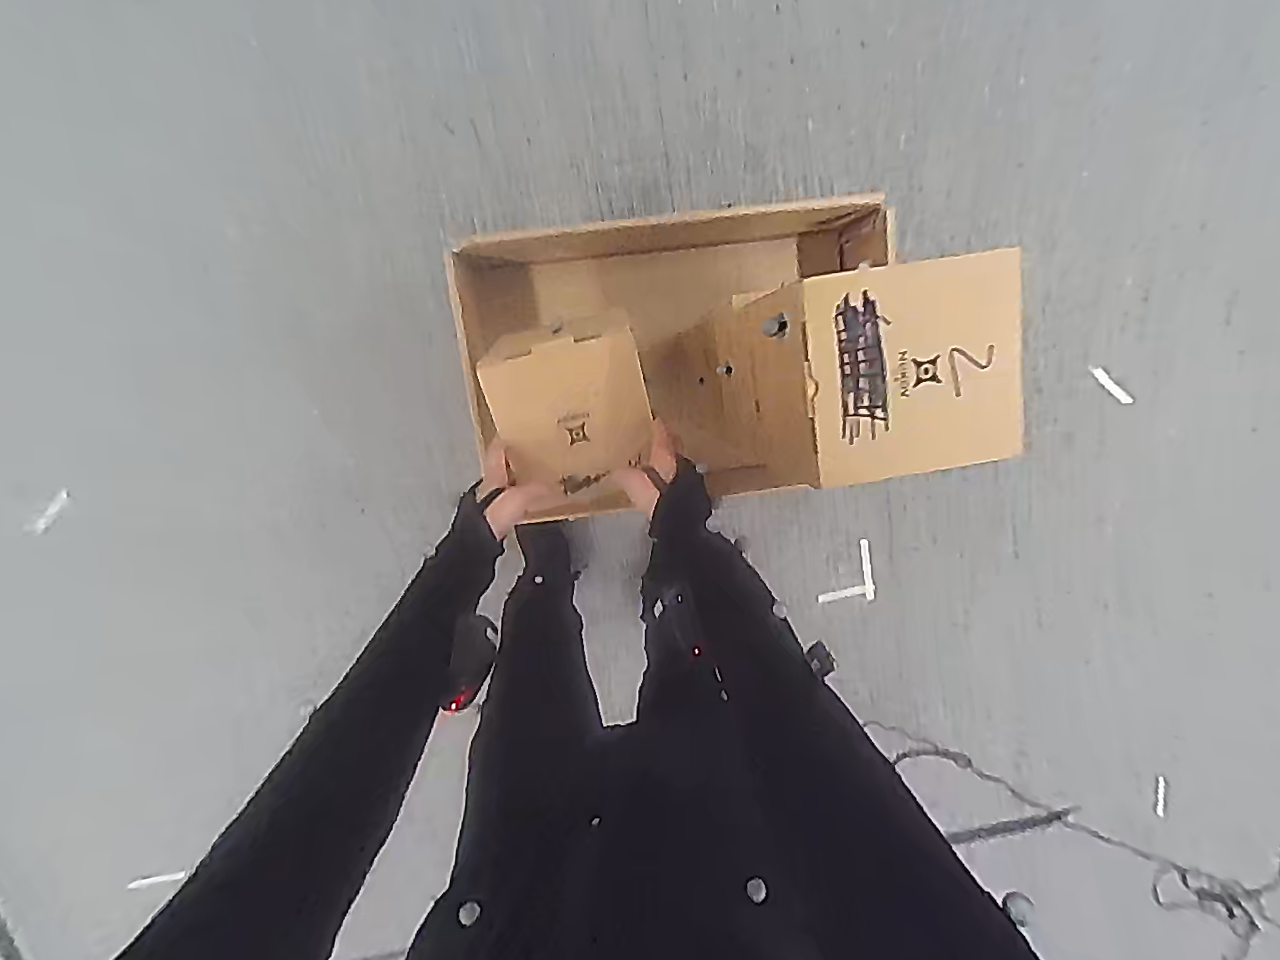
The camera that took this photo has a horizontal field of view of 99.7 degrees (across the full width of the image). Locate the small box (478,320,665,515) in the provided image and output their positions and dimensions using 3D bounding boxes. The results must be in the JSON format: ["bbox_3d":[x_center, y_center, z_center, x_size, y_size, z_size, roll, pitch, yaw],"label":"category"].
[{"bbox_3d":[-0.075,-0.086,0.649,0.168,0.176,0.179,-14,114,2],"label":"small box"}]

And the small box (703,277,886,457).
[{"bbox_3d":[0.179,-0.135,0.664,0.168,0.176,0.179,-9,102,-1],"label":"small box"}]
